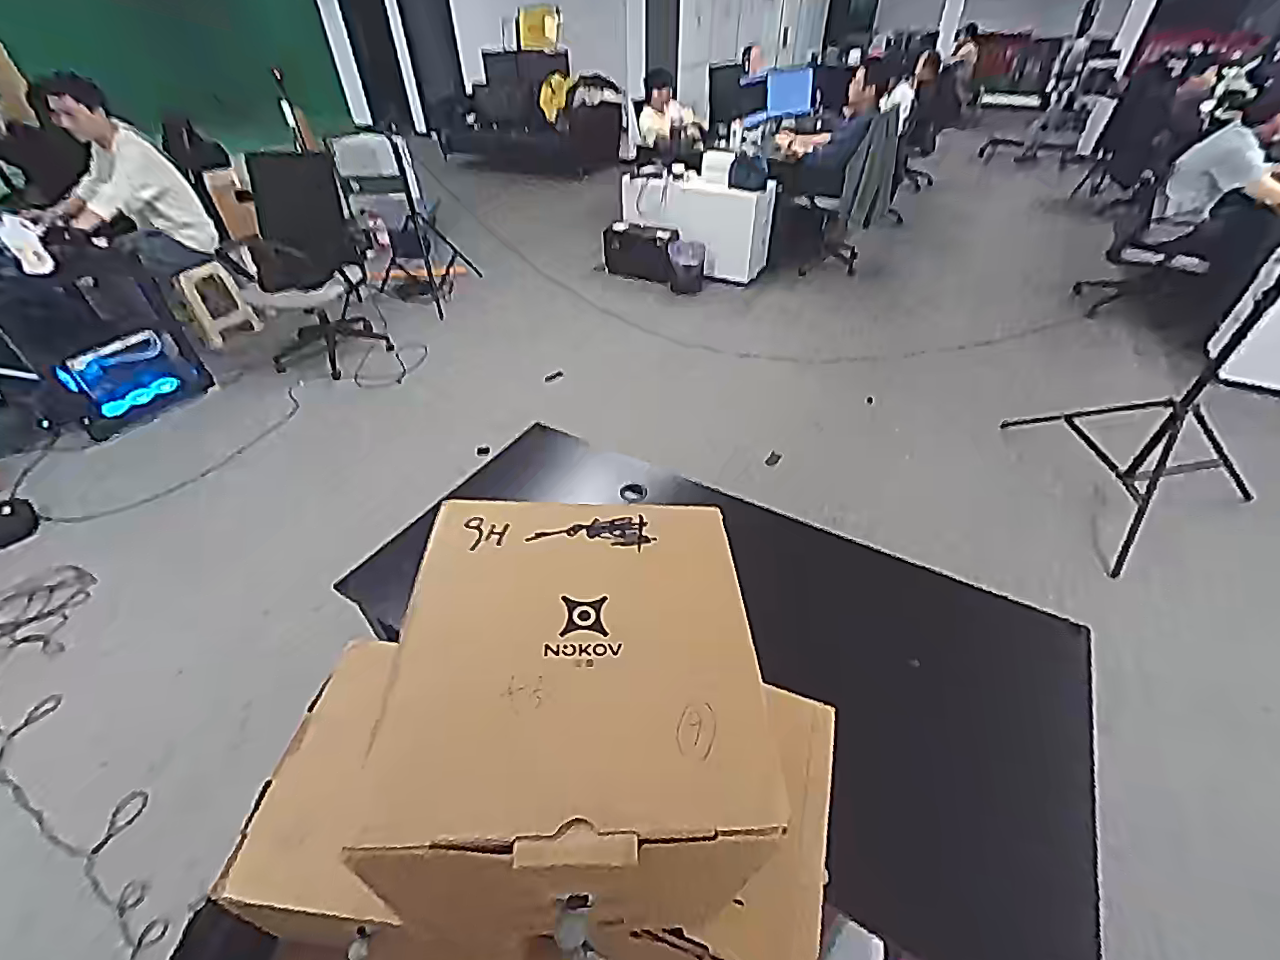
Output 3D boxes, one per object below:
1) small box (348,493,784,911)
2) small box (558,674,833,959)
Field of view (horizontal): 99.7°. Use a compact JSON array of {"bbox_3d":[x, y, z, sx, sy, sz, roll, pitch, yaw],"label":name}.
[{"bbox_3d":[-0.035,0.128,0.313,0.168,0.176,0.179,2,42,-6],"label":"small box"},{"bbox_3d":[0.038,0.260,0.422,0.168,0.176,0.179,17,41,11],"label":"small box"}]
